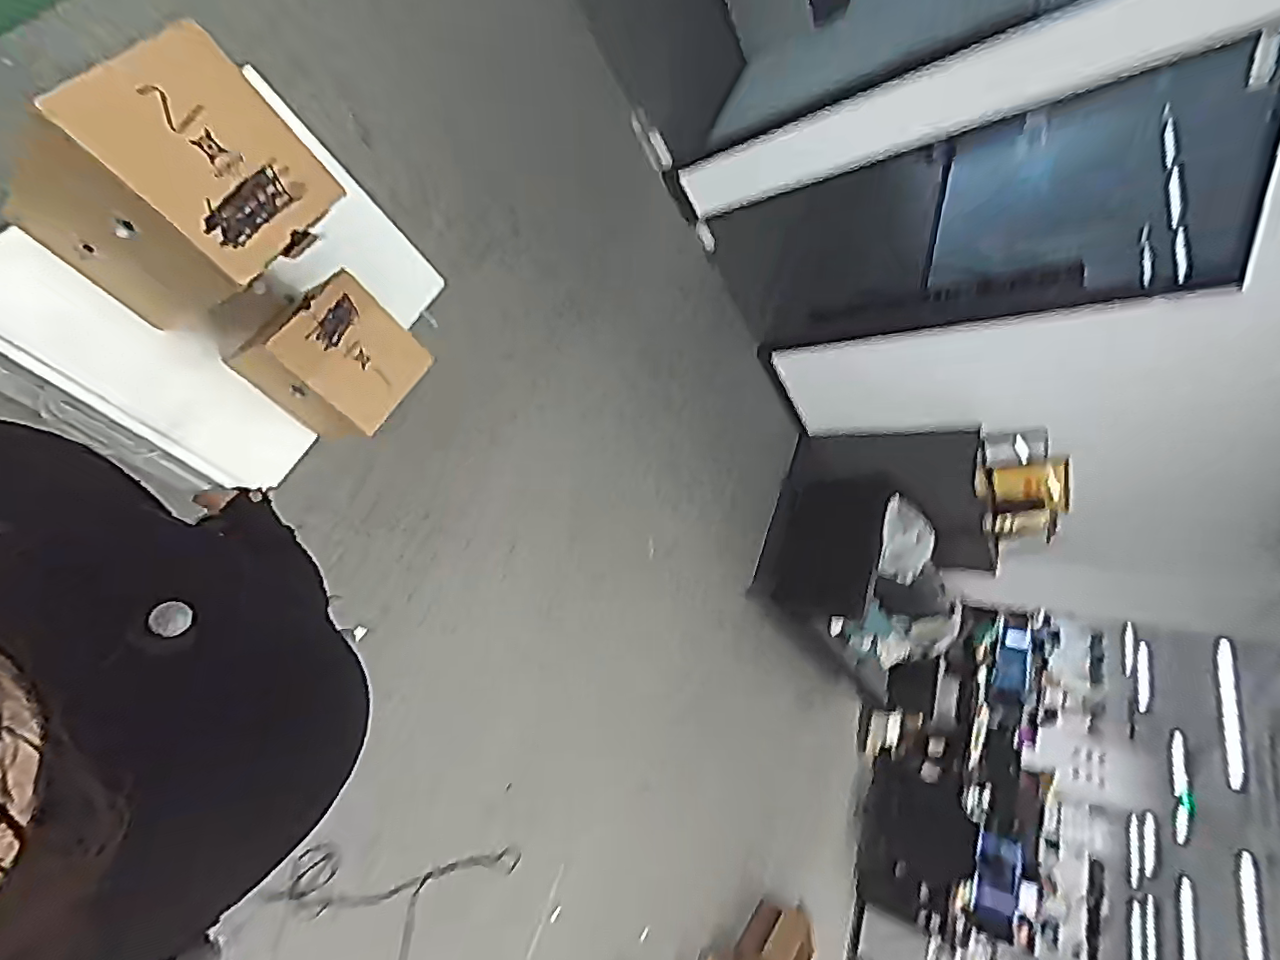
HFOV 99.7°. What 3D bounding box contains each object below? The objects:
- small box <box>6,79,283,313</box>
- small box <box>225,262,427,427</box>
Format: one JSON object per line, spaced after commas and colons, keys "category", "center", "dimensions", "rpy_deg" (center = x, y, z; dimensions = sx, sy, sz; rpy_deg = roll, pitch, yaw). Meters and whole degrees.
{"category": "small box", "center": [-0.597, -0.328, 0.658], "dimensions": [0.179, 0.176, 0.168], "rpy_deg": [52, 53, -41]}
{"category": "small box", "center": [-0.474, -0.193, 0.820], "dimensions": [0.179, 0.176, 0.168], "rpy_deg": [53, 53, -38]}
